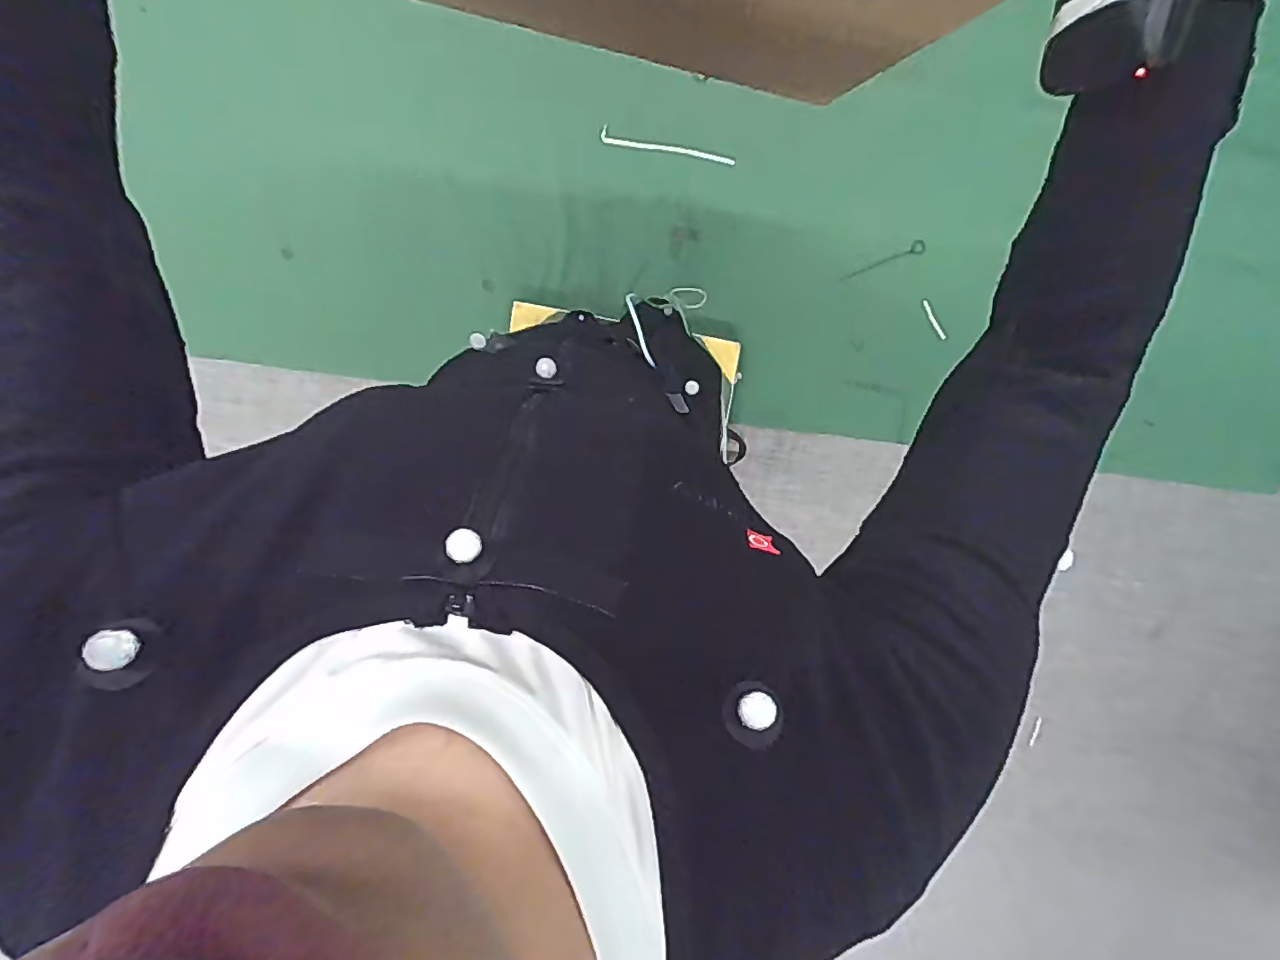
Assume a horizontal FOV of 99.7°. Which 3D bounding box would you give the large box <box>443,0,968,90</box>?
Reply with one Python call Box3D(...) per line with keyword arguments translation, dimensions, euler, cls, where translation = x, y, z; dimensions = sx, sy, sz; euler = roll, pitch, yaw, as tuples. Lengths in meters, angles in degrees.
Box3D(translation=(0.029, -0.480, 0.309), dimensions=(0.408, 0.320, 0.320), euler=(8, 115, -8), cls="large box")
